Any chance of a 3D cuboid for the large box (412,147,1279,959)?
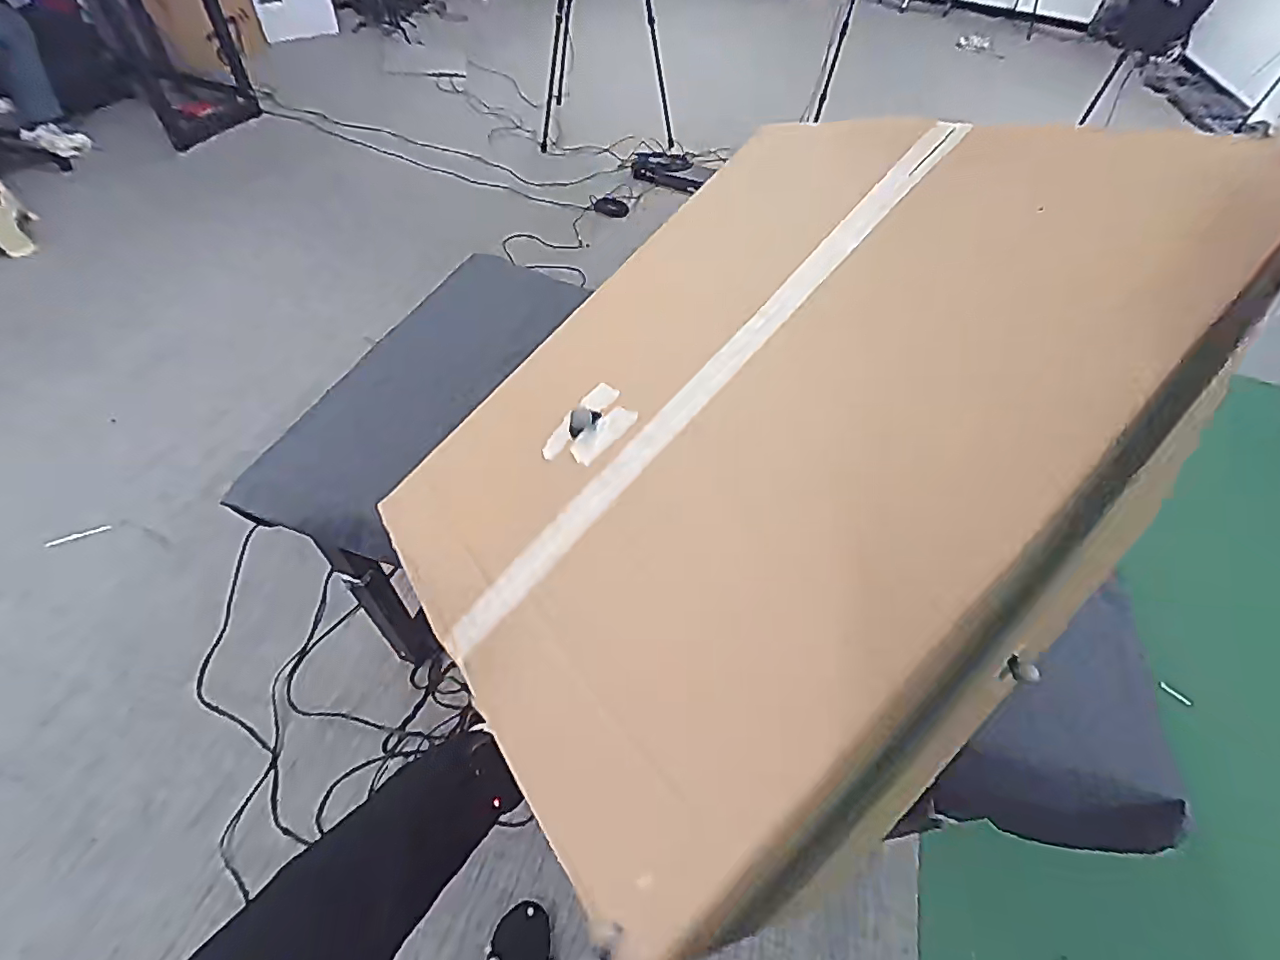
[{"bbox_3d":[0.123,0.029,0.419,0.408,0.320,0.320,-48,49,-5],"label":"large box"}]
